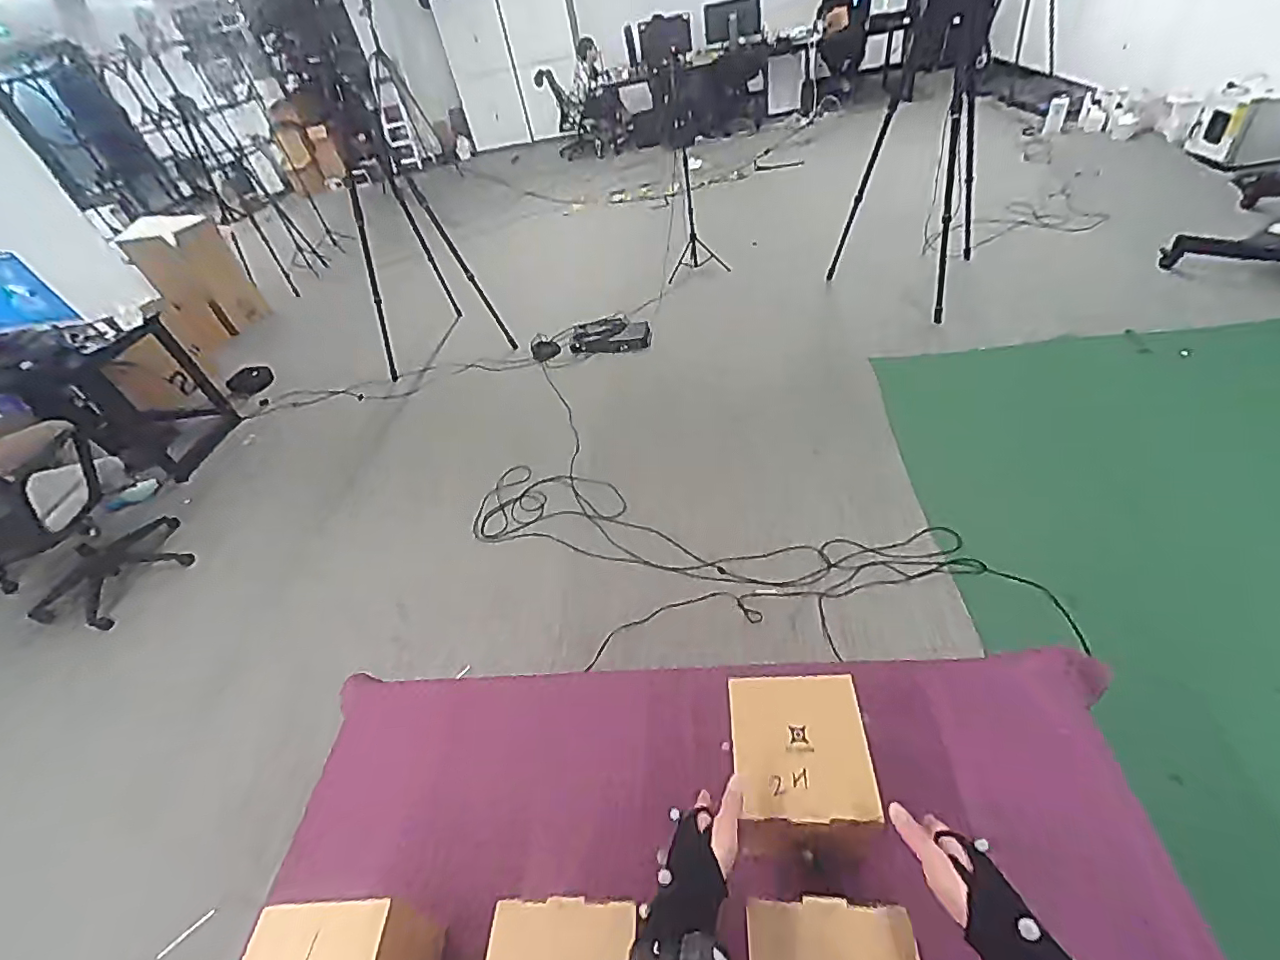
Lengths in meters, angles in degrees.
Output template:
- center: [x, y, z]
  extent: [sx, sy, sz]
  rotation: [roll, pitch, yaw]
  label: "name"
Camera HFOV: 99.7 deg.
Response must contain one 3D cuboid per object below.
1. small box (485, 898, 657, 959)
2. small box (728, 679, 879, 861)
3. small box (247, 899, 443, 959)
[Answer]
- center: [-0.076, 0.593, 0.602]
  extent: [0.168, 0.176, 0.179]
  rotation: [-6, 43, 10]
  label: "small box"
- center: [0.210, 0.392, 0.735]
  extent: [0.168, 0.176, 0.179]
  rotation: [-6, 44, 11]
  label: "small box"
- center: [-0.358, 0.625, 0.640]
  extent: [0.168, 0.176, 0.179]
  rotation: [-8, 40, 7]
  label: "small box"
